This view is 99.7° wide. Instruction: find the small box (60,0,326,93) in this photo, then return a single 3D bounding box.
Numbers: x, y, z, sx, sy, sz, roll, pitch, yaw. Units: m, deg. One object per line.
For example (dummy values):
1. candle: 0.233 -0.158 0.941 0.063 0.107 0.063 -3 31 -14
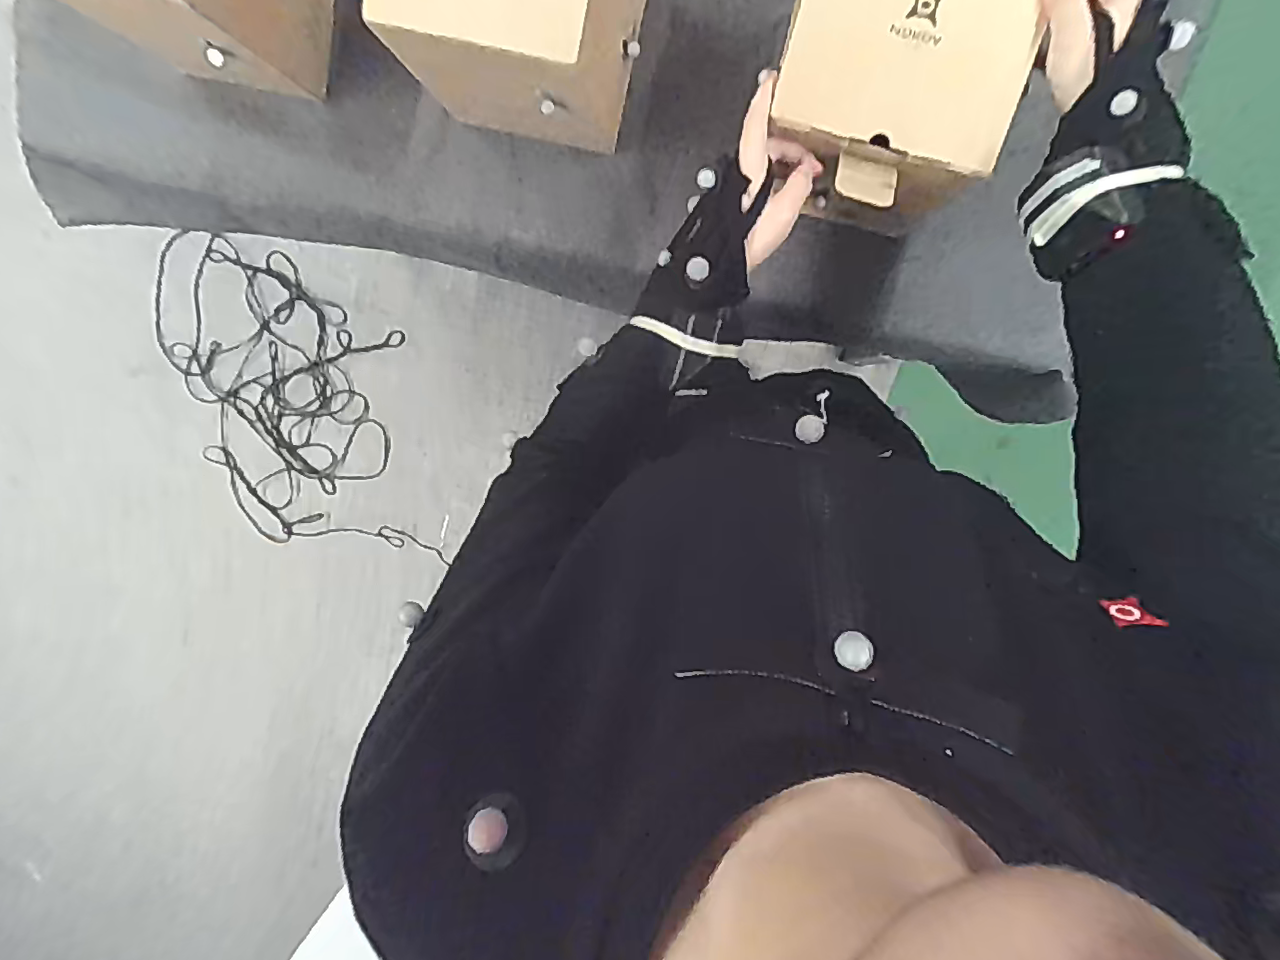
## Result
1. small box: -0.417 -0.494 0.496 0.179 0.176 0.168 14 101 5
